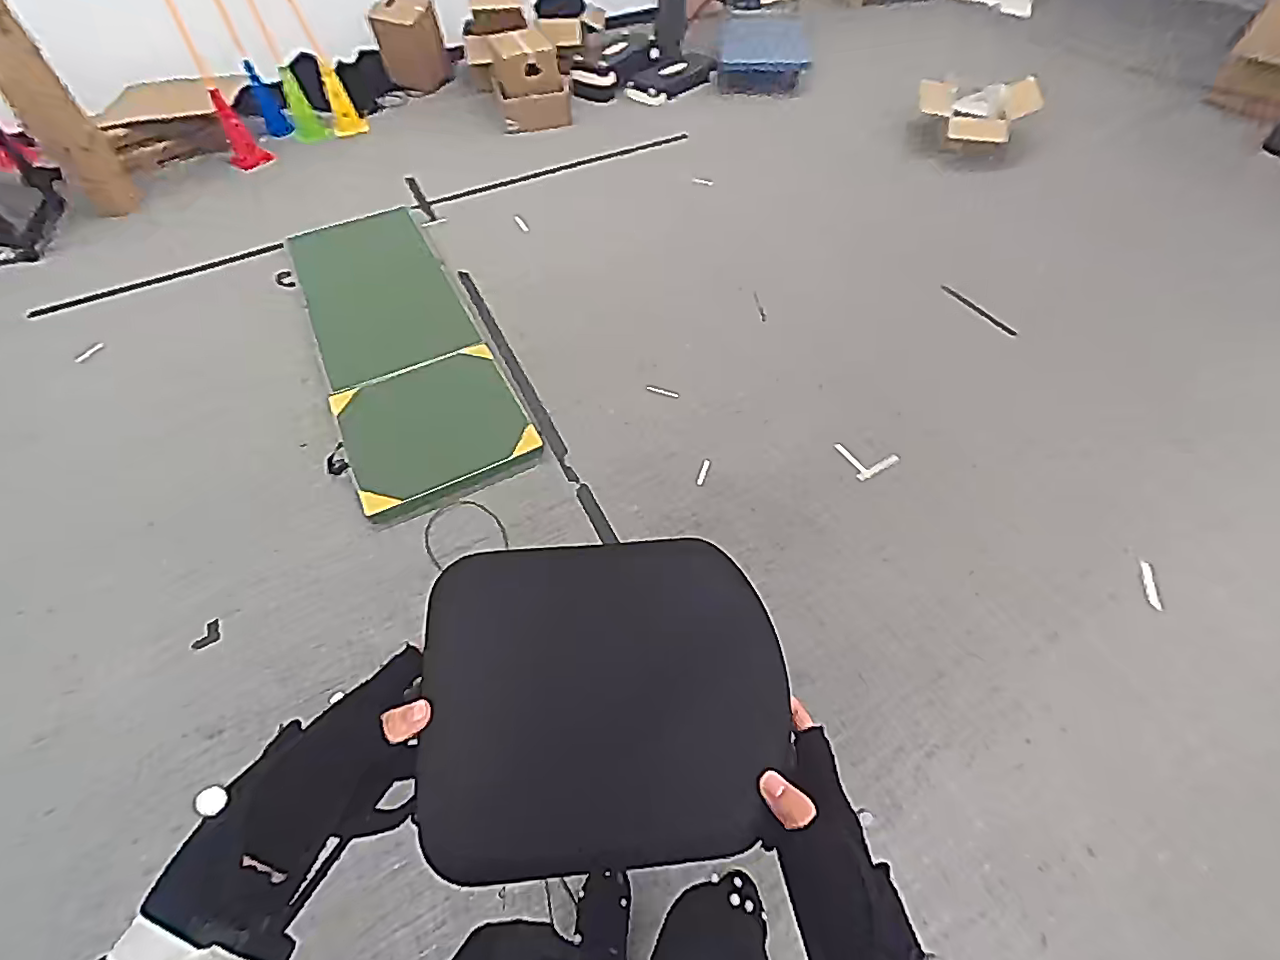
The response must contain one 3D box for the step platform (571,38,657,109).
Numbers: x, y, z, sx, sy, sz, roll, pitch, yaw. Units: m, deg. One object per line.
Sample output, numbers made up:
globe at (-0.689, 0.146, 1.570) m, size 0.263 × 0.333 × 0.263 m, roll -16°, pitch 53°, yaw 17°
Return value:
step platform at (-0.166, -2.755, 3.649) m, size 0.286 × 0.204 × 0.684 m, roll 27°, pitch 60°, yaw 19°
